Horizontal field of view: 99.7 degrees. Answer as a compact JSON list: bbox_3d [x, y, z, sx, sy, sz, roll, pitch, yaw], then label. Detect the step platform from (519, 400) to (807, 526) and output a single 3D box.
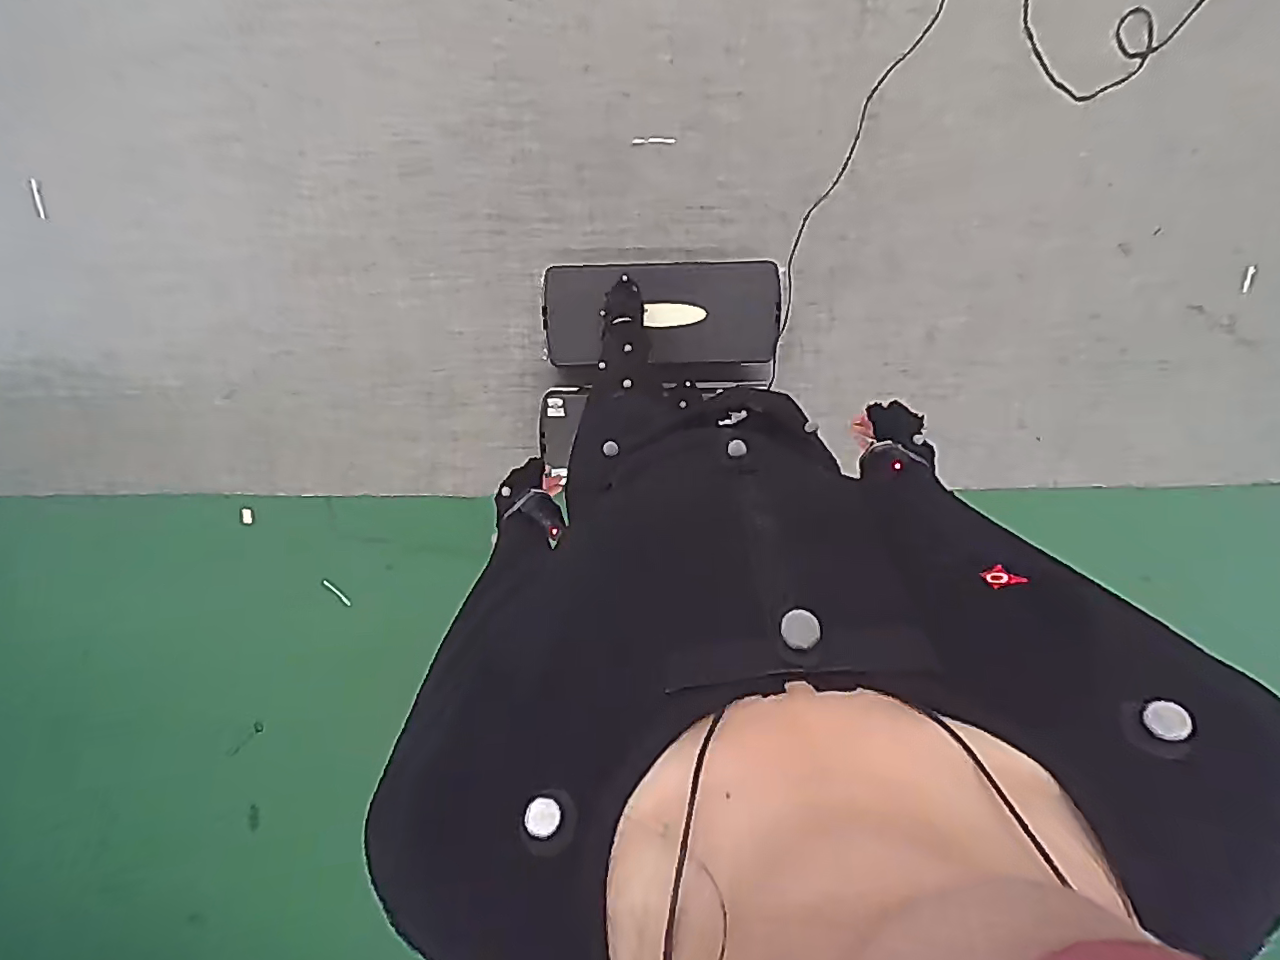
[{"bbox_3d":[0.055,-0.051,1.367,0.684,0.204,0.286,-1,103,0],"label":"step platform"}]
